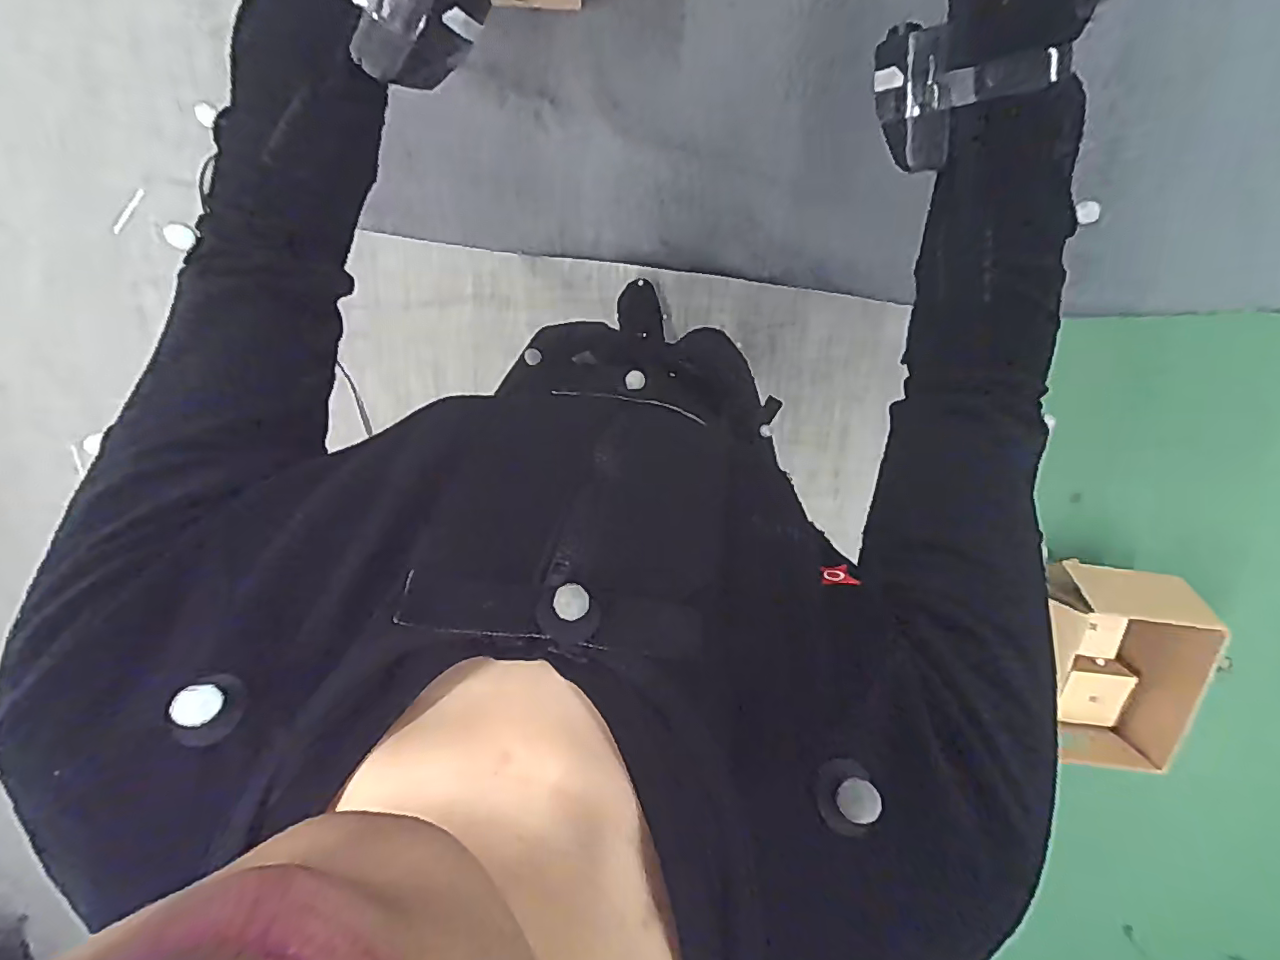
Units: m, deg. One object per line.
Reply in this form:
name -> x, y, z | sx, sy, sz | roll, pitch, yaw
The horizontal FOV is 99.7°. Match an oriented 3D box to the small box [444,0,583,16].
small box -> -0.138, -0.566, 0.480 | 0.168, 0.176, 0.179 | 5, 107, 2
